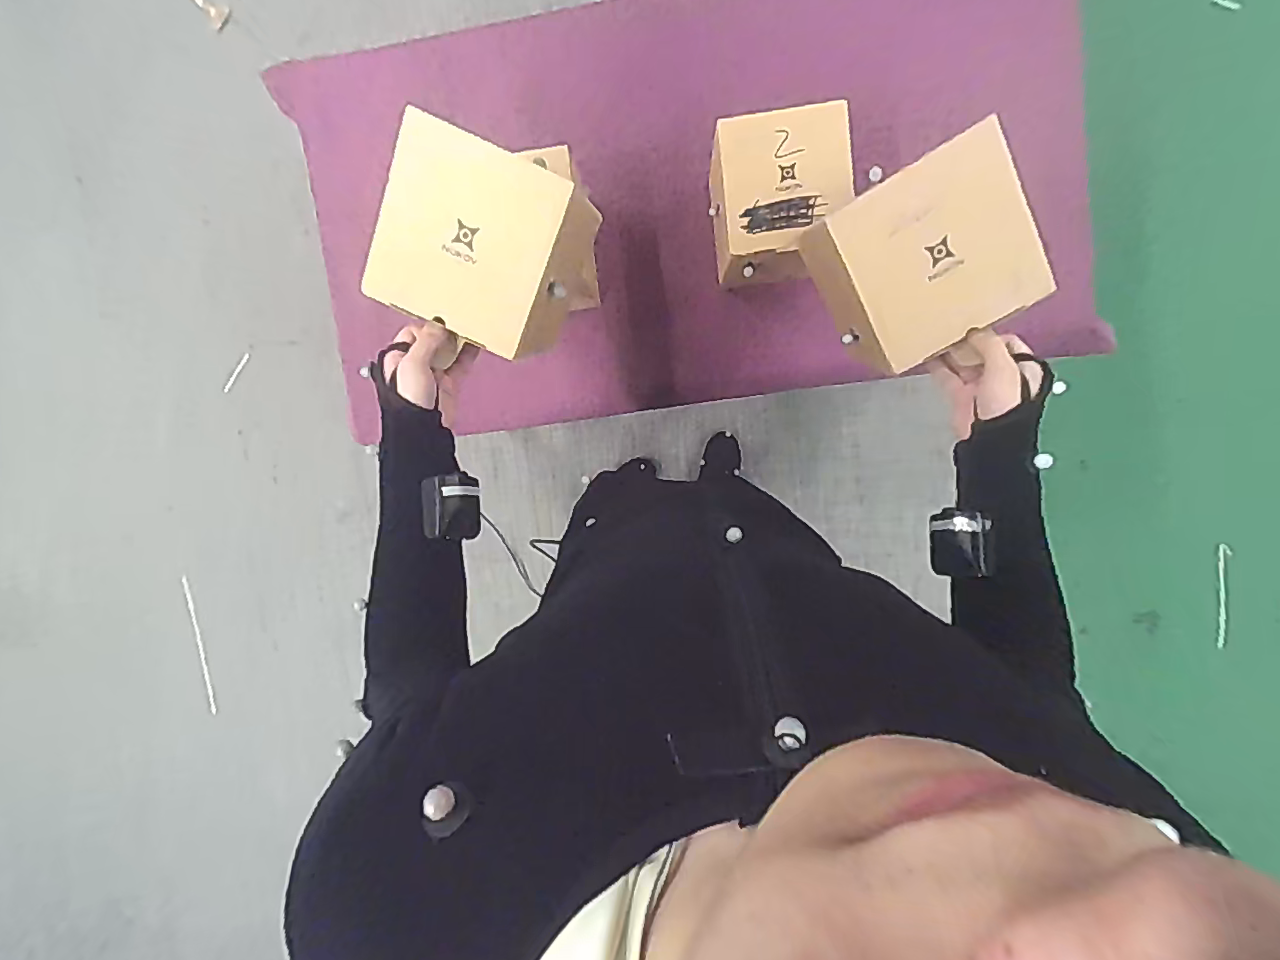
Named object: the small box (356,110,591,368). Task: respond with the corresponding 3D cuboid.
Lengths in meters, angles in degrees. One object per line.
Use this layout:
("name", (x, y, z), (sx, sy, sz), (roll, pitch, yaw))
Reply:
("small box", (-0.162, -0.241, 0.578), (0.168, 0.176, 0.179), (24, 108, -3))

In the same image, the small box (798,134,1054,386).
("small box", (0.293, -0.227, 0.590), (0.168, 0.176, 0.179), (-27, 104, 12))

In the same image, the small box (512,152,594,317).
("small box", (-0.165, -0.341, 0.792), (0.168, 0.176, 0.179), (-7, 95, 4))
